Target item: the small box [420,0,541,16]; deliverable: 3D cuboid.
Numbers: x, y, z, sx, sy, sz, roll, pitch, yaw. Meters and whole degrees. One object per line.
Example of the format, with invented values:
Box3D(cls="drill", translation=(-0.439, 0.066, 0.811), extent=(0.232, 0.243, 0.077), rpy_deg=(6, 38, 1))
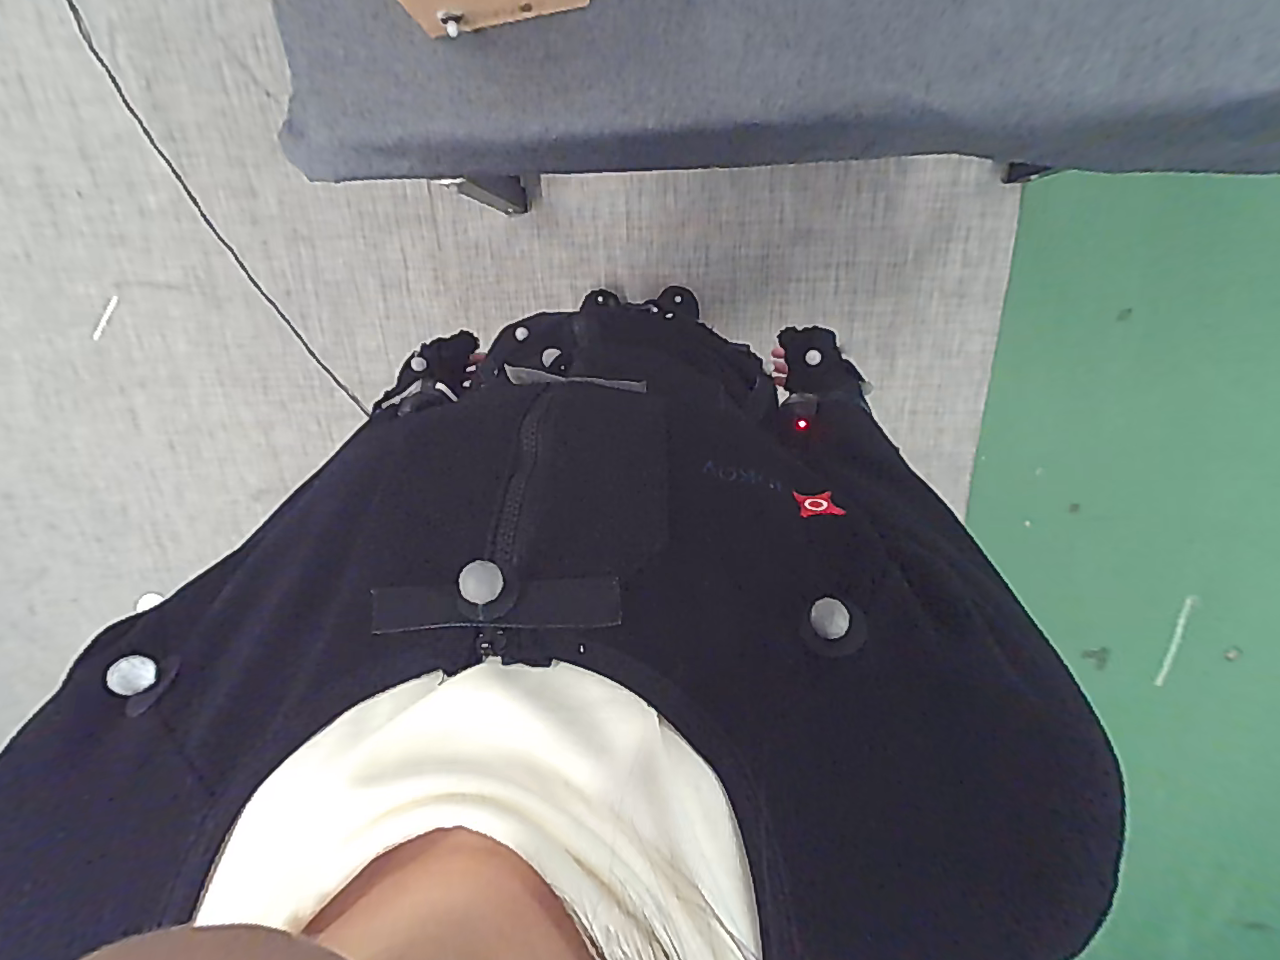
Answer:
Box3D(cls="small box", translation=(-0.141, -0.516, 0.432), extent=(0.168, 0.176, 0.179), rpy_deg=(-8, 108, 5))
